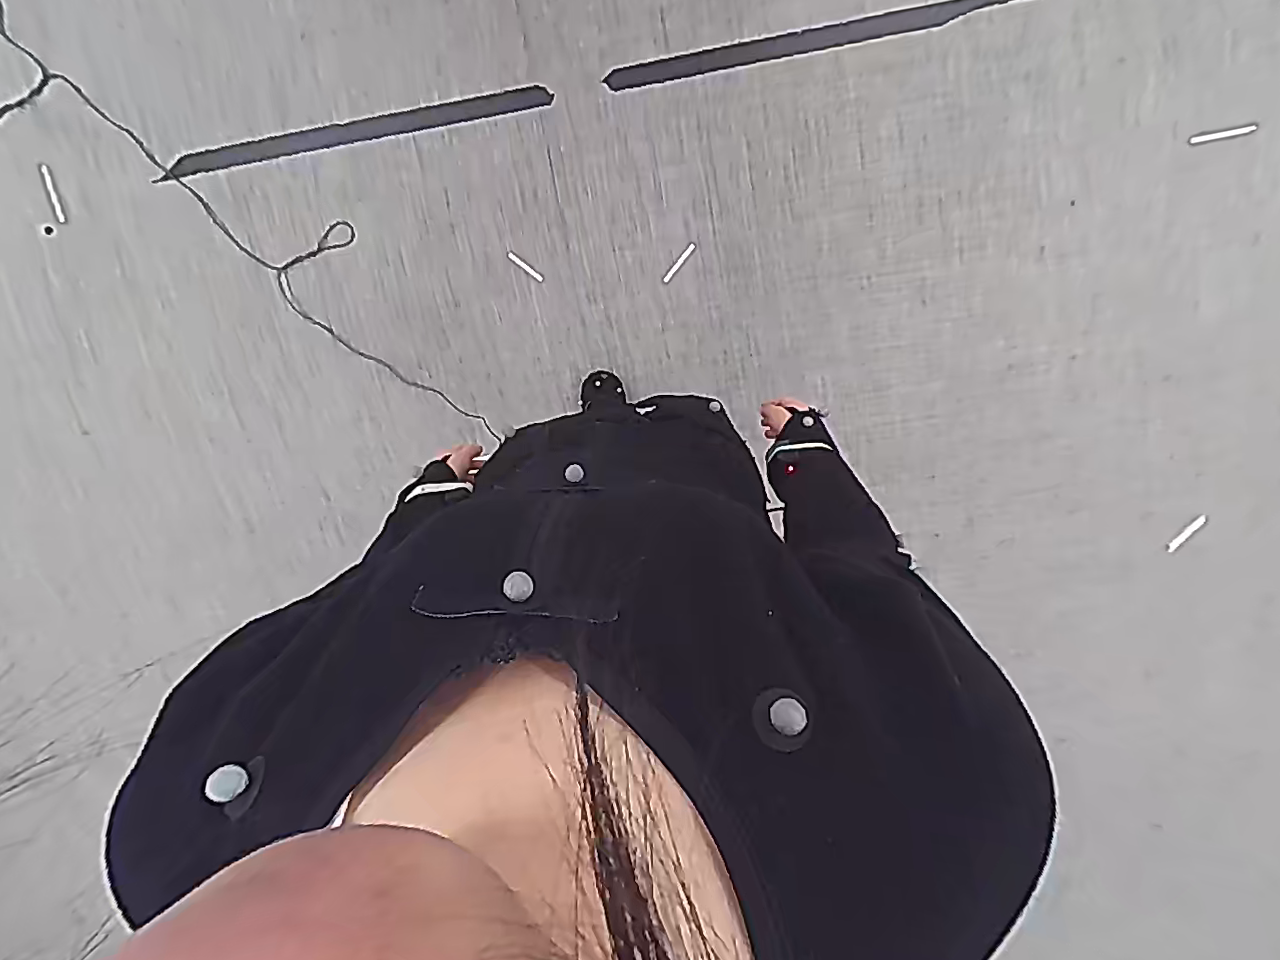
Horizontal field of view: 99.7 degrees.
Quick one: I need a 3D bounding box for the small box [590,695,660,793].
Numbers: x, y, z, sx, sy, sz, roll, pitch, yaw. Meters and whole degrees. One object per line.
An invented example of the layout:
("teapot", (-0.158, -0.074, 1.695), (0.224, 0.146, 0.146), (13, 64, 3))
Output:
("small box", (-0.038, 0.753, 1.551), (0.168, 0.176, 0.179), (-12, 101, 3))
